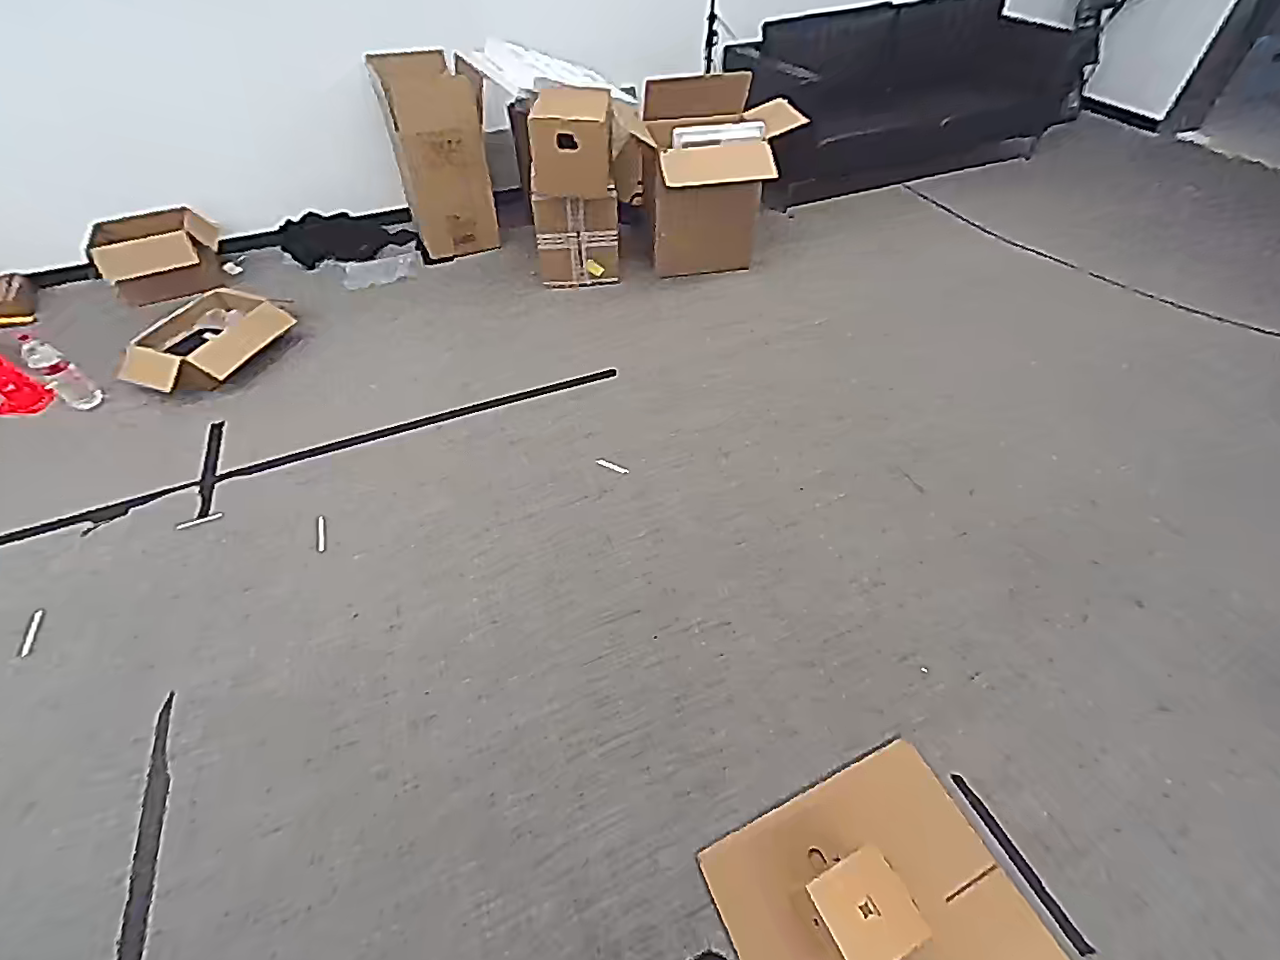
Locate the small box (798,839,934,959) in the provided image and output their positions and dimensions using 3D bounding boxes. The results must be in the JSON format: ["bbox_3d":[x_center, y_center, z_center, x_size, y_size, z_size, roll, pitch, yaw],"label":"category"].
[{"bbox_3d":[0.438,0.863,1.085,0.179,0.176,0.168,-21,53,-16],"label":"small box"}]
